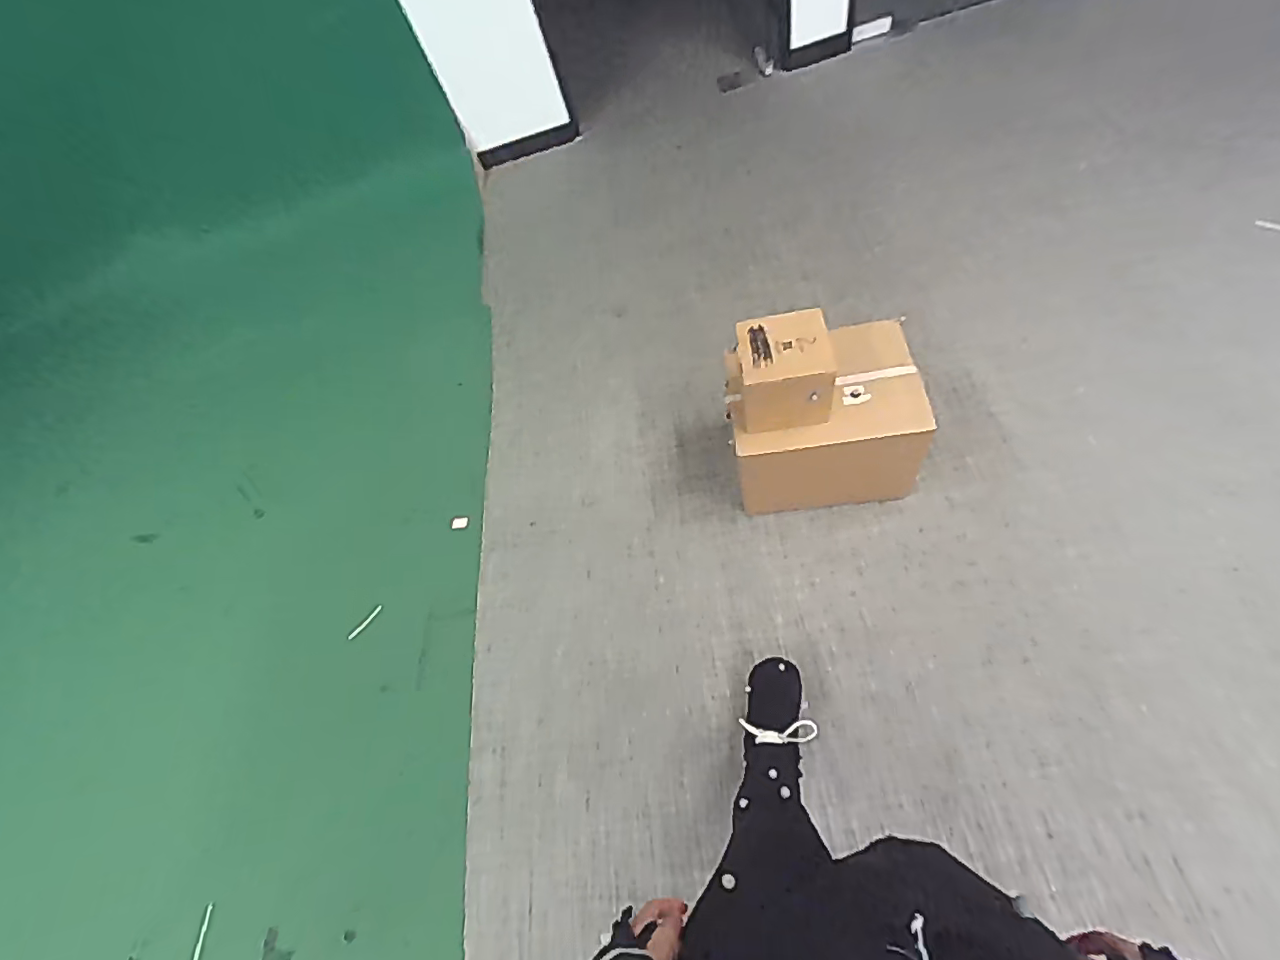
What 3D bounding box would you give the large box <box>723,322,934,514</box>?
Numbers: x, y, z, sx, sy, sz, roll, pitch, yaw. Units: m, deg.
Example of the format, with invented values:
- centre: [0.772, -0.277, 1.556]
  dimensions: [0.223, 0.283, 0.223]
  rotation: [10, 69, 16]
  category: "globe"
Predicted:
- centre: [0.428, -0.135, 1.326]
  dimensions: [0.408, 0.320, 0.320]
  rotation: [-7, 61, 9]
  category: "large box"
